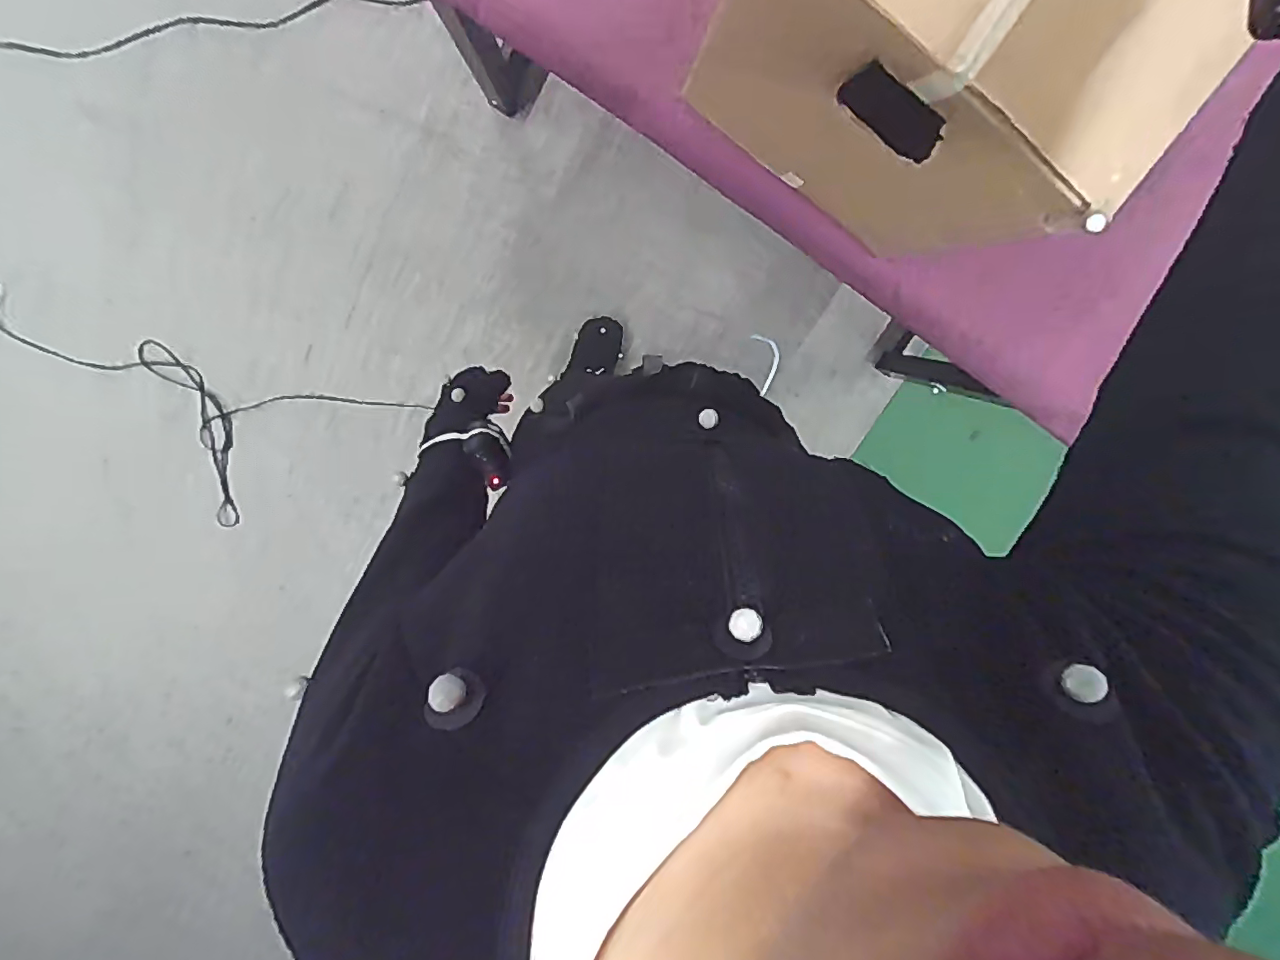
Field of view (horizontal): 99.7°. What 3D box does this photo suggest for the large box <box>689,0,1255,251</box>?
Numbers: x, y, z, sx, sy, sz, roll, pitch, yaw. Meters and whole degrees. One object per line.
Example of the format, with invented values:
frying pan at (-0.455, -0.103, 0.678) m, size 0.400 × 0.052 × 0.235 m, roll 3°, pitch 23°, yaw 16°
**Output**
large box at (0.295, -0.473, 0.465) m, size 0.320 × 0.320 × 0.408 m, roll 32°, pitch 104°, yaw -13°
